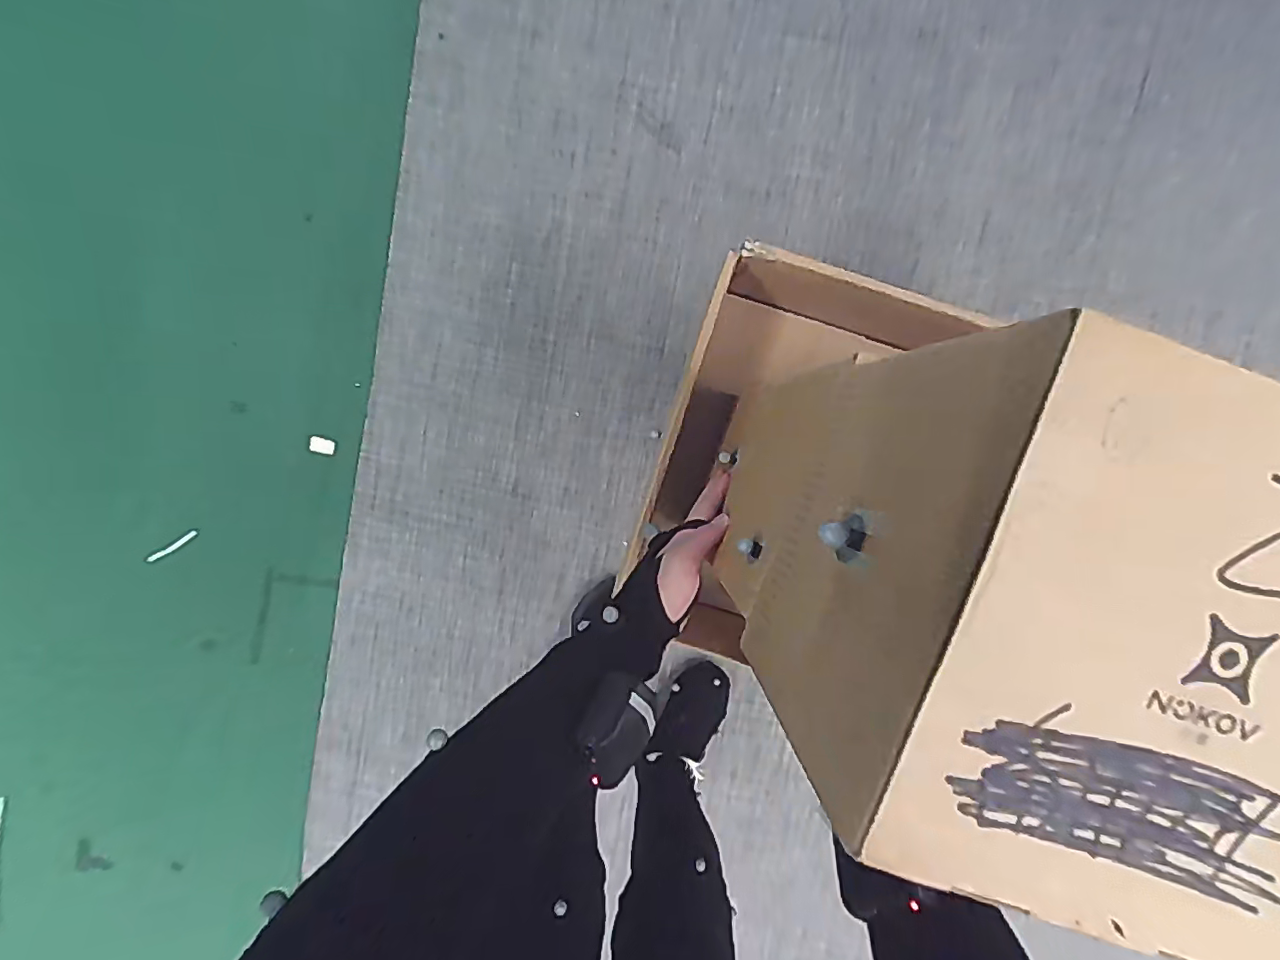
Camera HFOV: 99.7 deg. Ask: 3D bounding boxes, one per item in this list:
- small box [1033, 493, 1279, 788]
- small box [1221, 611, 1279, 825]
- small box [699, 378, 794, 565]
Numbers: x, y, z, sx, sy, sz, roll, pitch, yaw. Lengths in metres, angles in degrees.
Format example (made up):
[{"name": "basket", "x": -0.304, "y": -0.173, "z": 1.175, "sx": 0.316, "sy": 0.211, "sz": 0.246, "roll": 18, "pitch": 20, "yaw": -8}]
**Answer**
[{"name": "small box", "x": 0.456, "y": 0.119, "z": 0.417, "sx": 0.168, "sy": 0.176, "sz": 0.179, "roll": 16, "pitch": 97, "yaw": -1}, {"name": "small box", "x": 0.453, "y": 0.142, "z": 0.255, "sx": 0.168, "sy": 0.176, "sz": 0.179, "roll": 16, "pitch": 96, "yaw": -1}, {"name": "small box", "x": 0.170, "y": 0.013, "z": 0.559, "sx": 0.168, "sy": 0.176, "sz": 0.179, "roll": 20, "pitch": 94, "yaw": -2}]
